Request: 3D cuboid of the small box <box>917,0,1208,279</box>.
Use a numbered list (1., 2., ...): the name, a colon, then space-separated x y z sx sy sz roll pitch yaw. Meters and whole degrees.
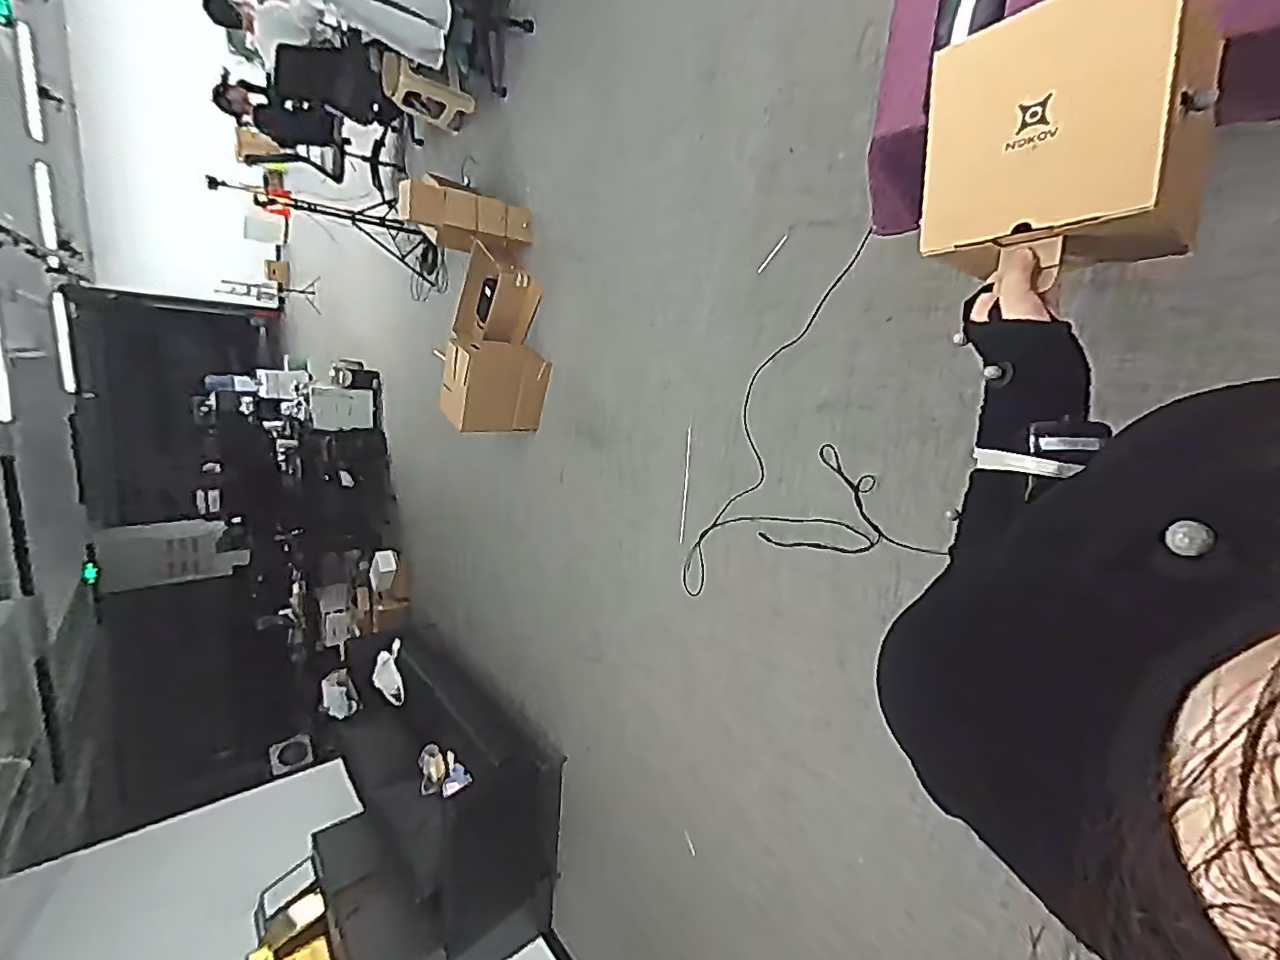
1. small box: 0.375 -0.293 0.484 0.168 0.176 0.179 11 104 49
